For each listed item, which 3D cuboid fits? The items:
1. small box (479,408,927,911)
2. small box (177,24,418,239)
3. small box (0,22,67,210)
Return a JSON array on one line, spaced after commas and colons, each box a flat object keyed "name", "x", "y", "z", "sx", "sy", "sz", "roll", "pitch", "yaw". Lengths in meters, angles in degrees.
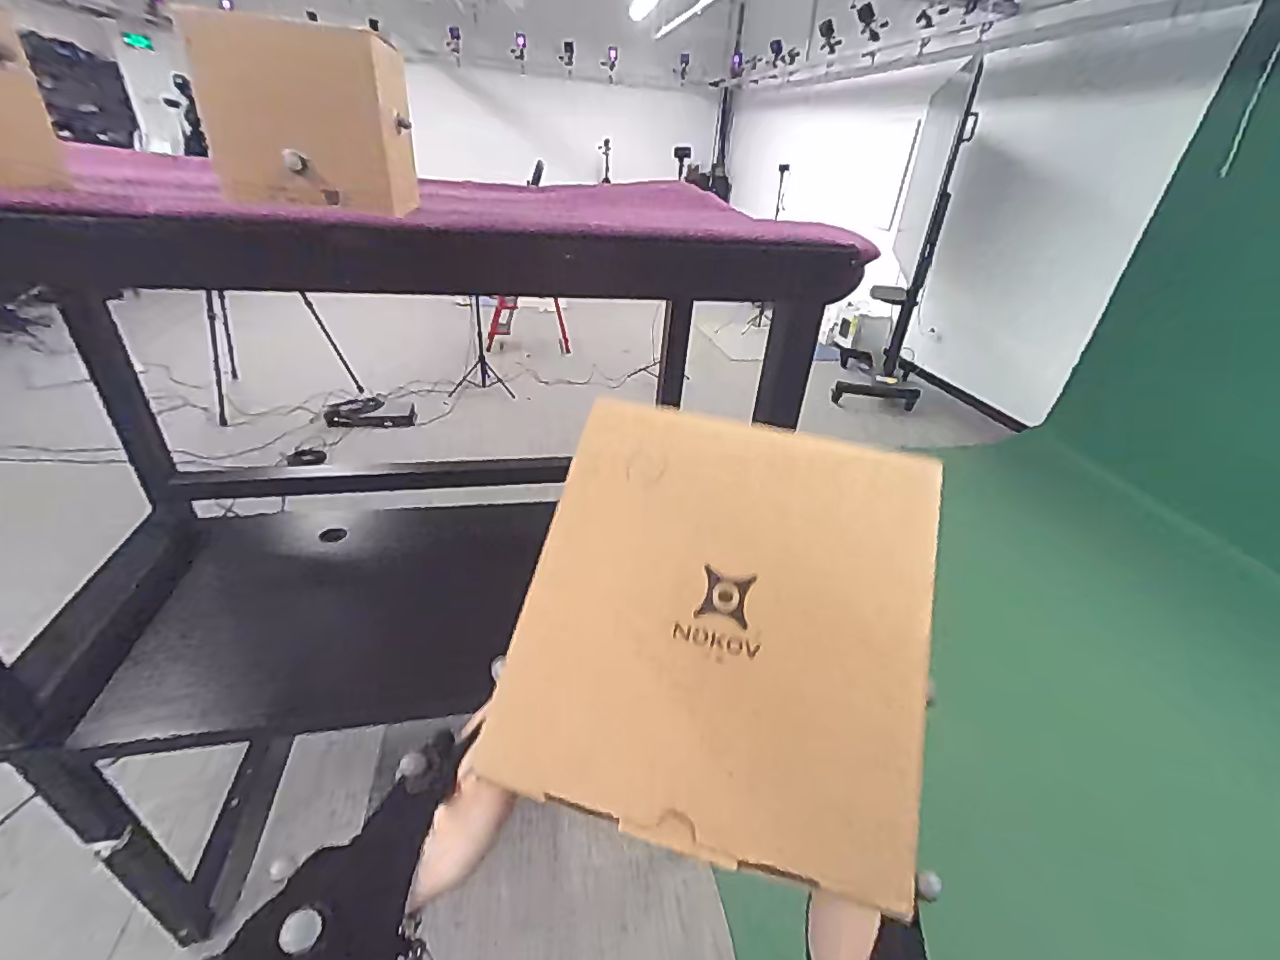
[{"name": "small box", "x": 0.038, "y": 0.087, "z": 0.308, "sx": 0.168, "sy": 0.176, "sz": 0.179, "roll": 12, "pitch": 71, "yaw": 9}, {"name": "small box", "x": -0.355, "y": -0.379, "z": 0.605, "sx": 0.168, "sy": 0.176, "sz": 0.179, "roll": -3, "pitch": 33, "yaw": -11}, {"name": "small box", "x": -0.715, "y": -0.354, "z": 0.512, "sx": 0.168, "sy": 0.176, "sz": 0.179, "roll": -3, "pitch": 31, "yaw": -12}]
